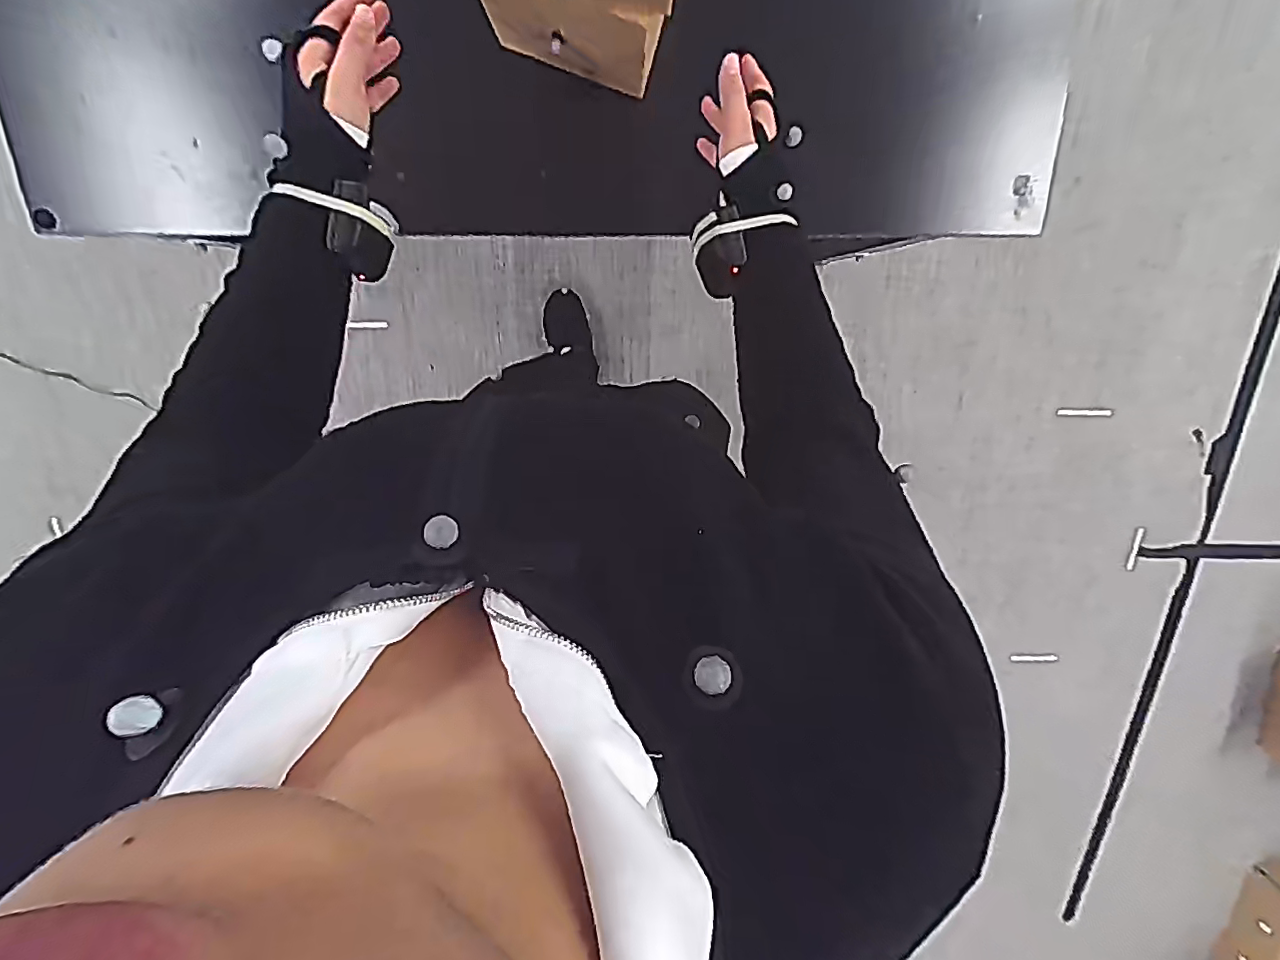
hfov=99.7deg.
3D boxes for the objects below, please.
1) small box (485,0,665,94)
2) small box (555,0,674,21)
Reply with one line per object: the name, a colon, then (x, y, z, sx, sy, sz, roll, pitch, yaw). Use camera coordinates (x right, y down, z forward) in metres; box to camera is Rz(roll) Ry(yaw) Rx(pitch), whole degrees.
small box: (-0.048, -0.512, 0.513, 0.168, 0.176, 0.179, 17, 106, -7)
small box: (-0.038, -0.462, 0.359, 0.168, 0.176, 0.179, 8, 108, -3)
